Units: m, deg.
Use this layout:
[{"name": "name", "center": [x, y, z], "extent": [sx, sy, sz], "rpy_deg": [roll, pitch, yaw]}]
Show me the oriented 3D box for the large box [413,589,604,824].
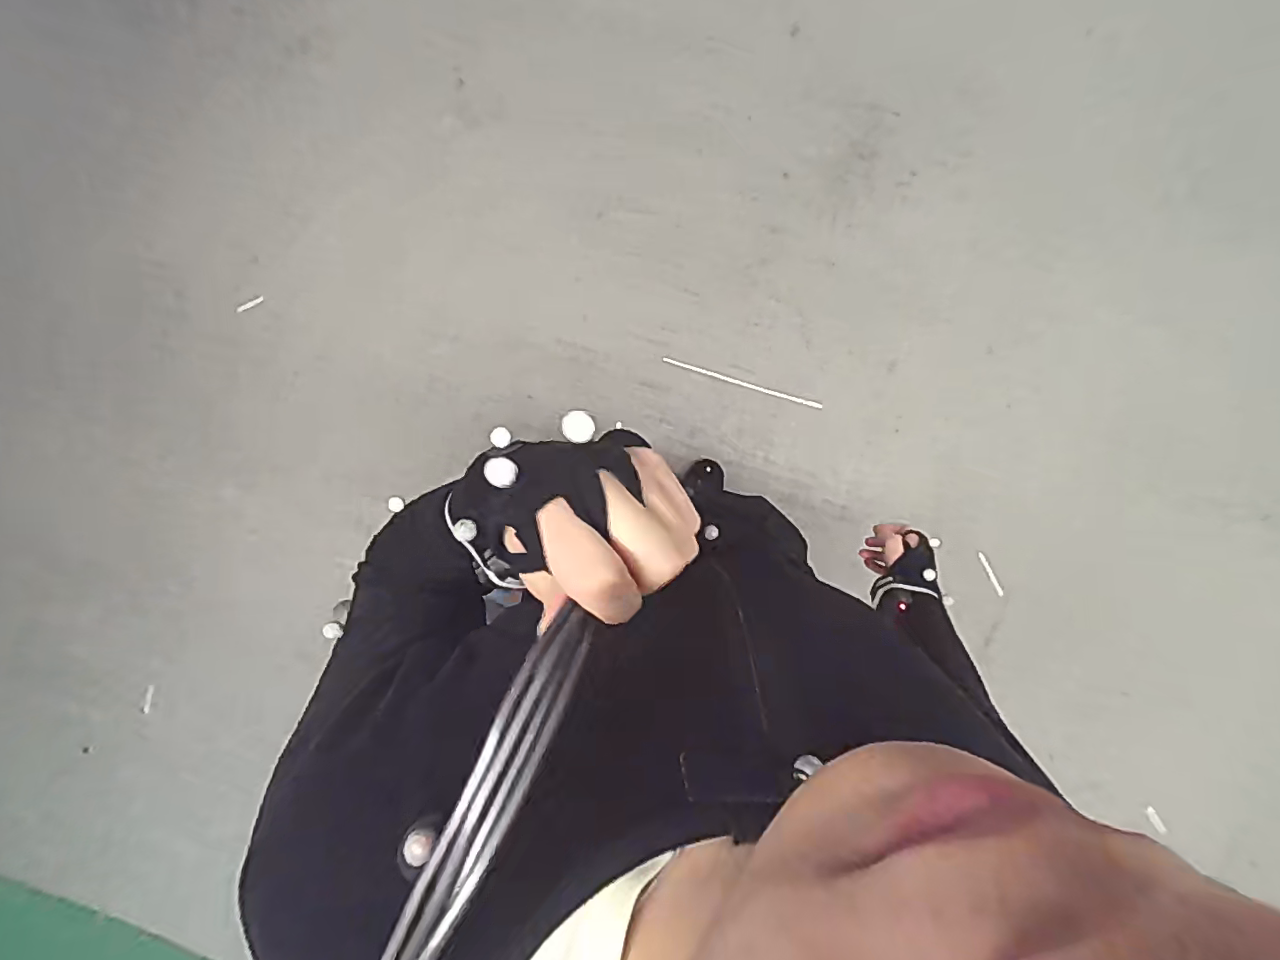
[{"name": "large box", "center": [-0.314, 0.550, 1.389], "extent": [0.320, 0.320, 0.408], "rpy_deg": [22, 97, 2]}]
